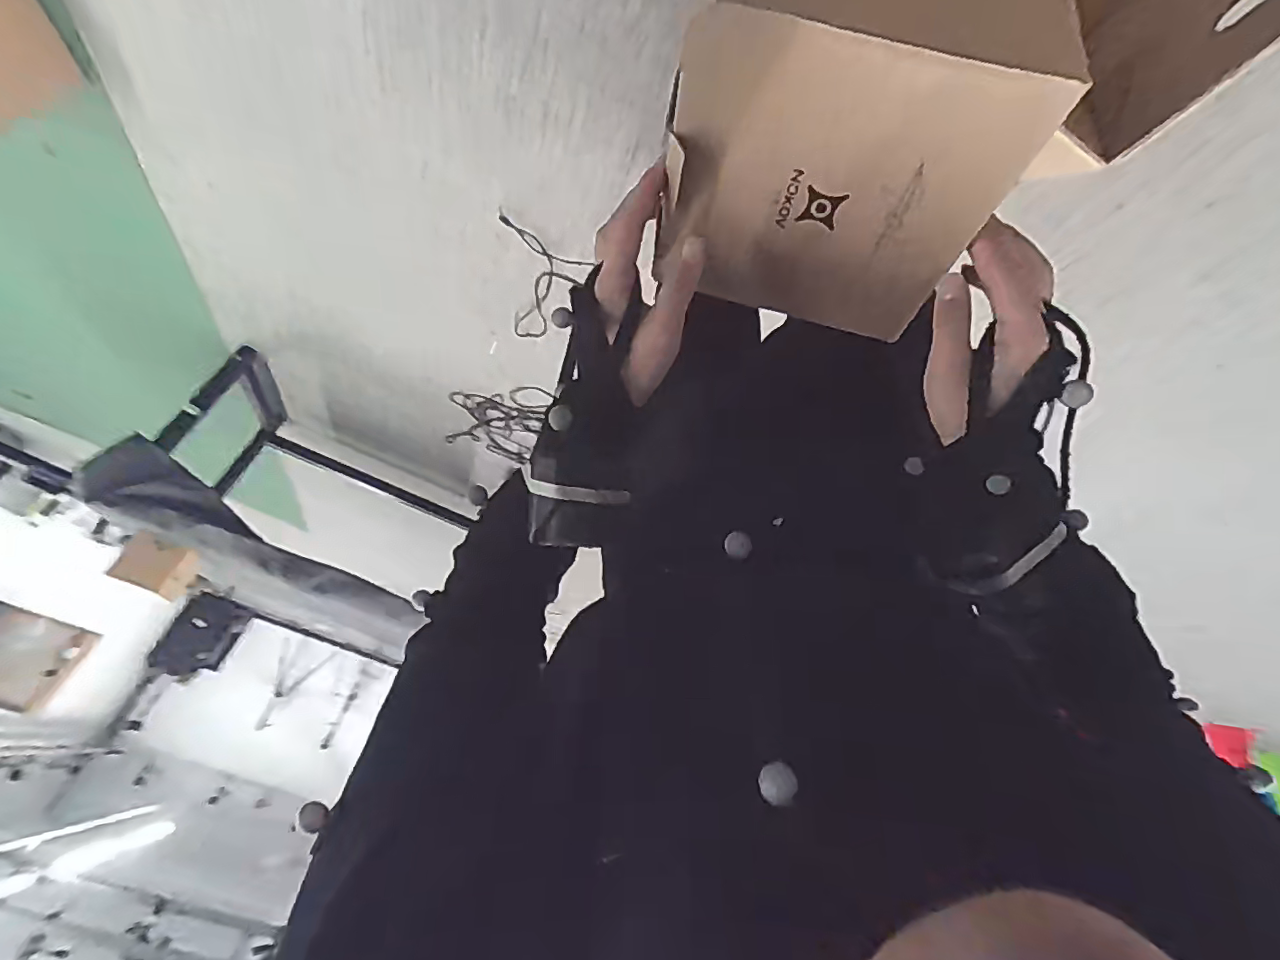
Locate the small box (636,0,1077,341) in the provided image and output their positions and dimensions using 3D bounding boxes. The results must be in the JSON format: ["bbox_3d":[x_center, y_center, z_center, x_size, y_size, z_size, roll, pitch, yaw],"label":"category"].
[{"bbox_3d":[0.106,-0.218,0.326,0.179,0.176,0.168,14,155,2],"label":"small box"}]
